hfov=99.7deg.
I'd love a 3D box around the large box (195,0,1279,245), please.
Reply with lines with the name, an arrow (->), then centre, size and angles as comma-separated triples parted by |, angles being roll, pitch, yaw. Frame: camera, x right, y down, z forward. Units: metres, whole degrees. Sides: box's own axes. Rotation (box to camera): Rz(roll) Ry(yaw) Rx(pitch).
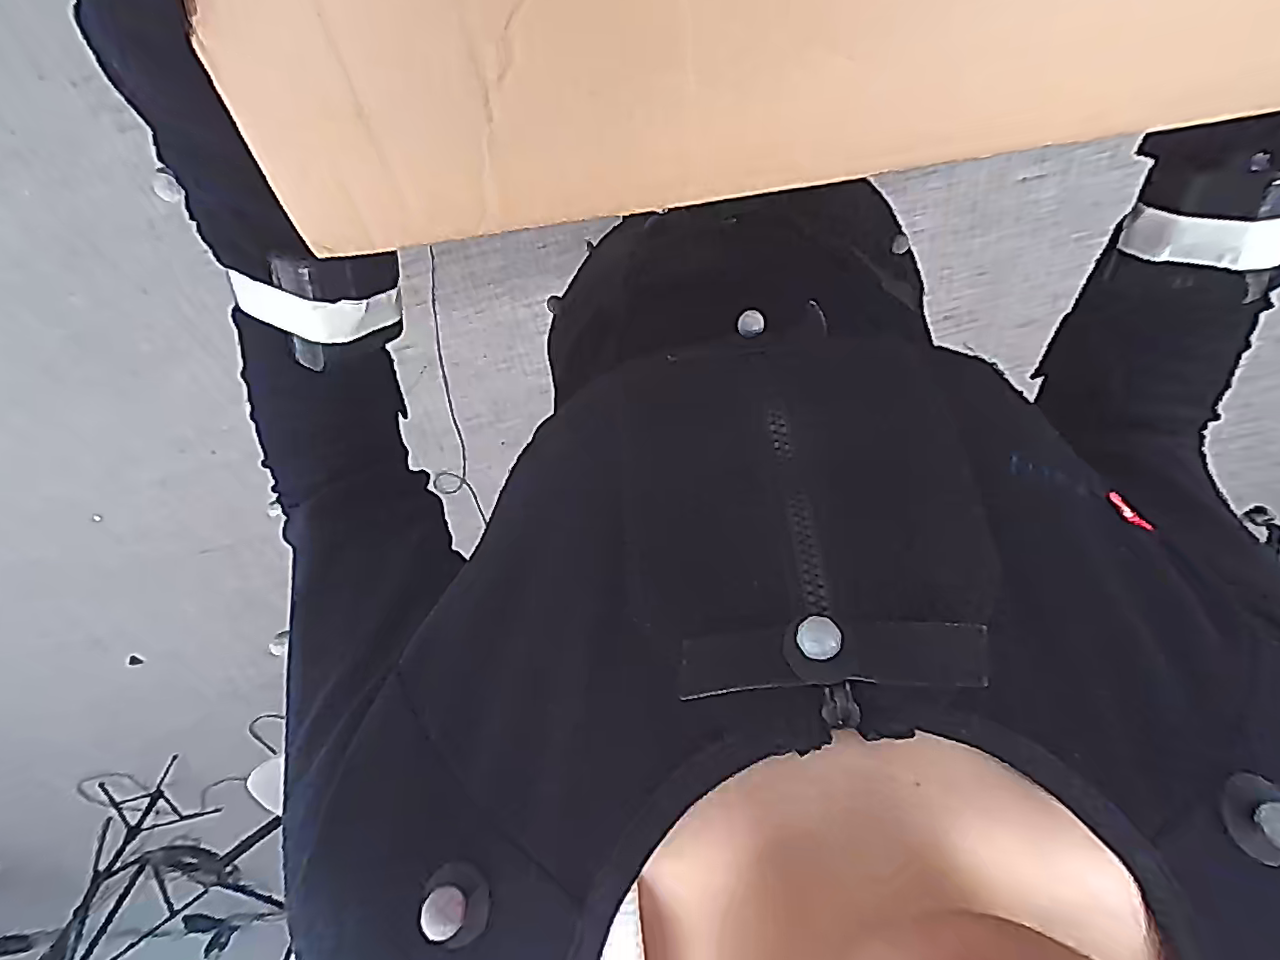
large box -> 0.029, -0.344, 0.226 | 0.408, 0.320, 0.320 | -7, 135, 4
